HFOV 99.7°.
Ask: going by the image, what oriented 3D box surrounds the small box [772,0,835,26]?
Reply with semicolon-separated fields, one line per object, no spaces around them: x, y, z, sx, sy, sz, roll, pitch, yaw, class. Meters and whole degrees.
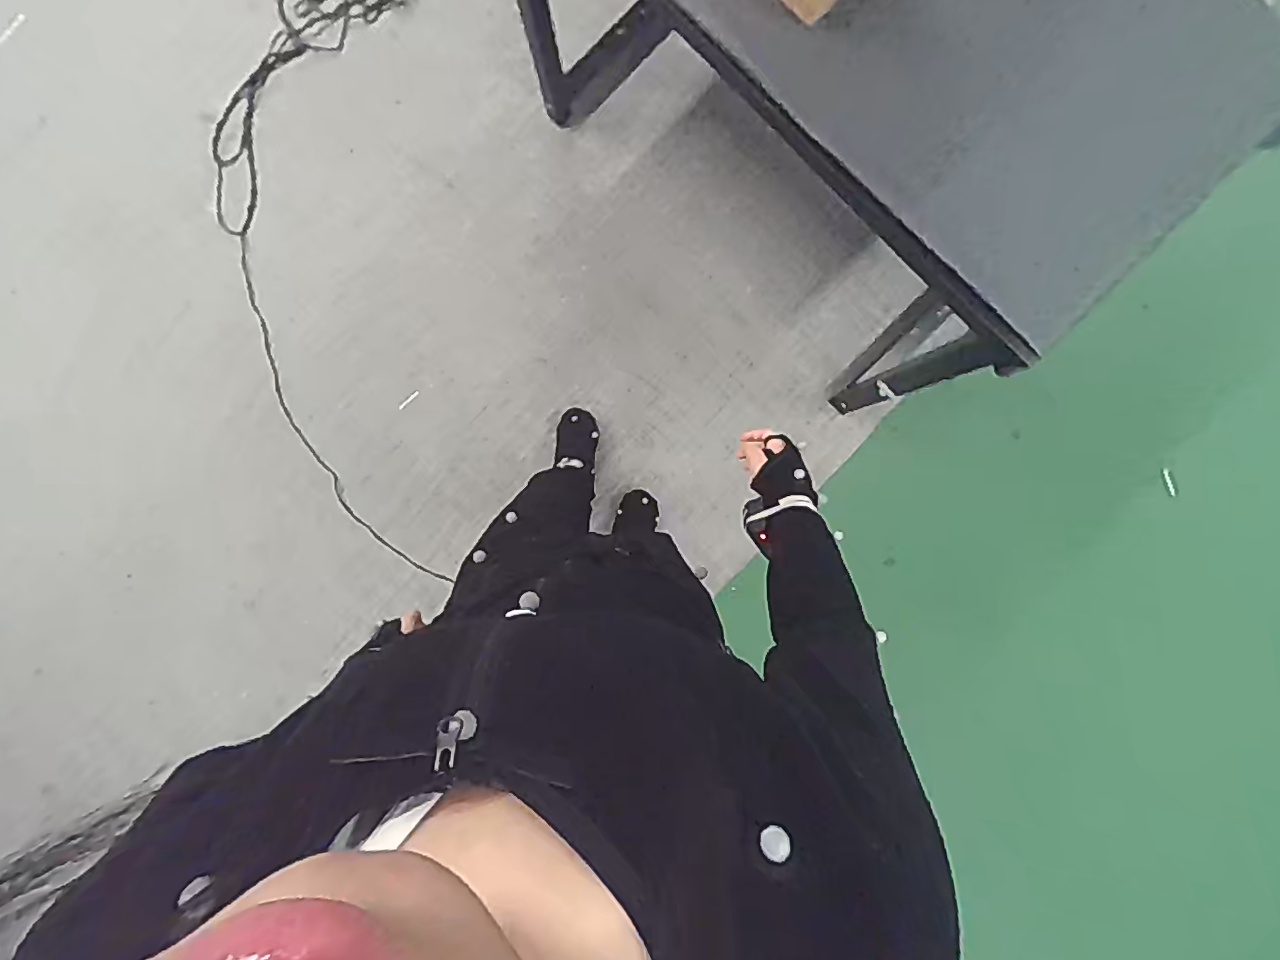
0.239;-0.759;0.693;0.168;0.176;0.179;43;90;0;small box
